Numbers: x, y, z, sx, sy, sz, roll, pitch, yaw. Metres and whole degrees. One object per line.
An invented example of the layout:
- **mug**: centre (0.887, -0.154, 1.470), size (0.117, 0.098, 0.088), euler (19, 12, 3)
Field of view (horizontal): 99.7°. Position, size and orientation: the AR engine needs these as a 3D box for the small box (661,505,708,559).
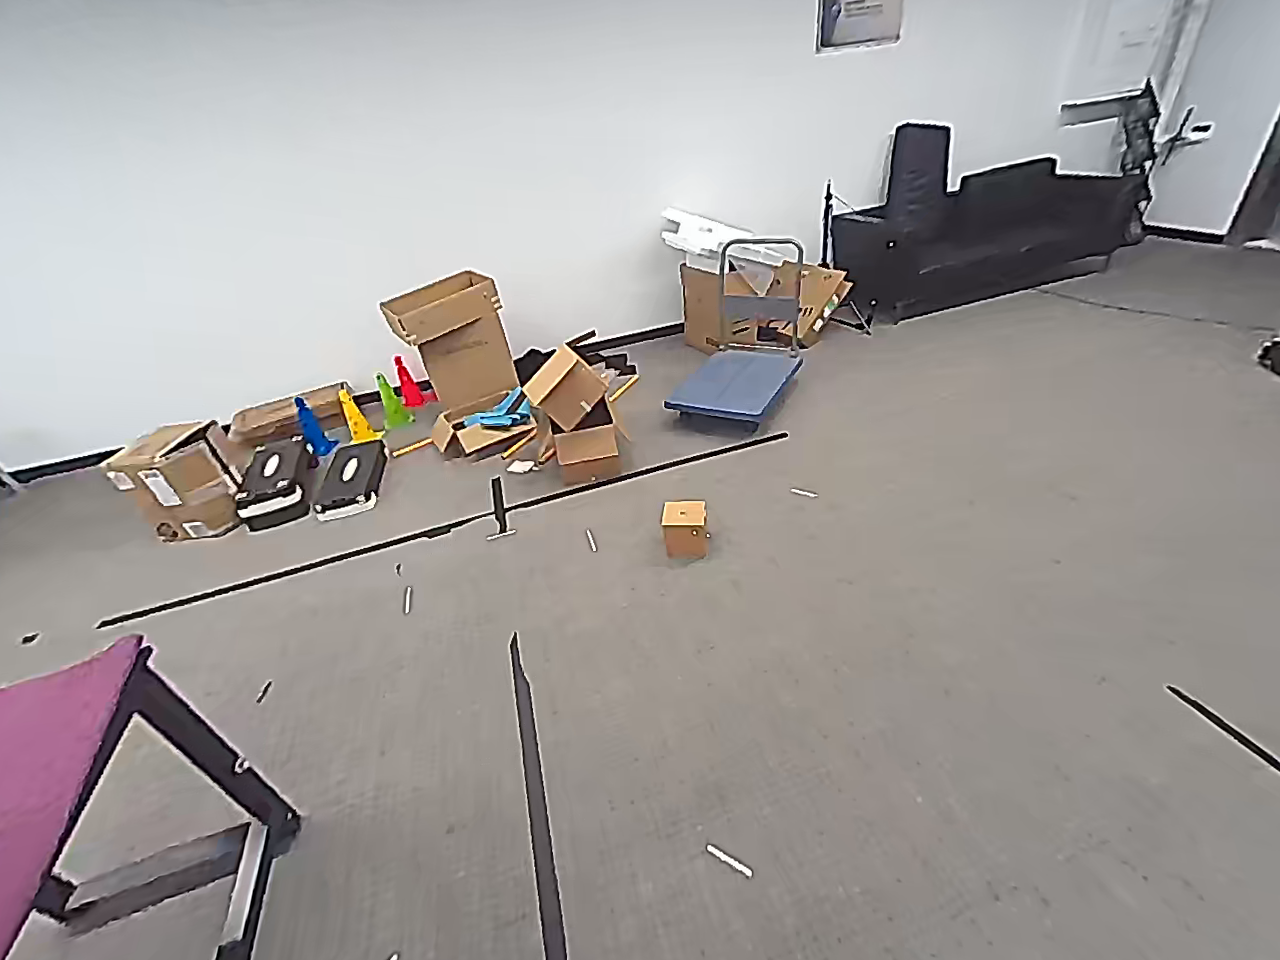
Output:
- **small box**: centre (0.192, 0.221, 2.296), size (0.179, 0.176, 0.168), euler (-1, 33, 10)
